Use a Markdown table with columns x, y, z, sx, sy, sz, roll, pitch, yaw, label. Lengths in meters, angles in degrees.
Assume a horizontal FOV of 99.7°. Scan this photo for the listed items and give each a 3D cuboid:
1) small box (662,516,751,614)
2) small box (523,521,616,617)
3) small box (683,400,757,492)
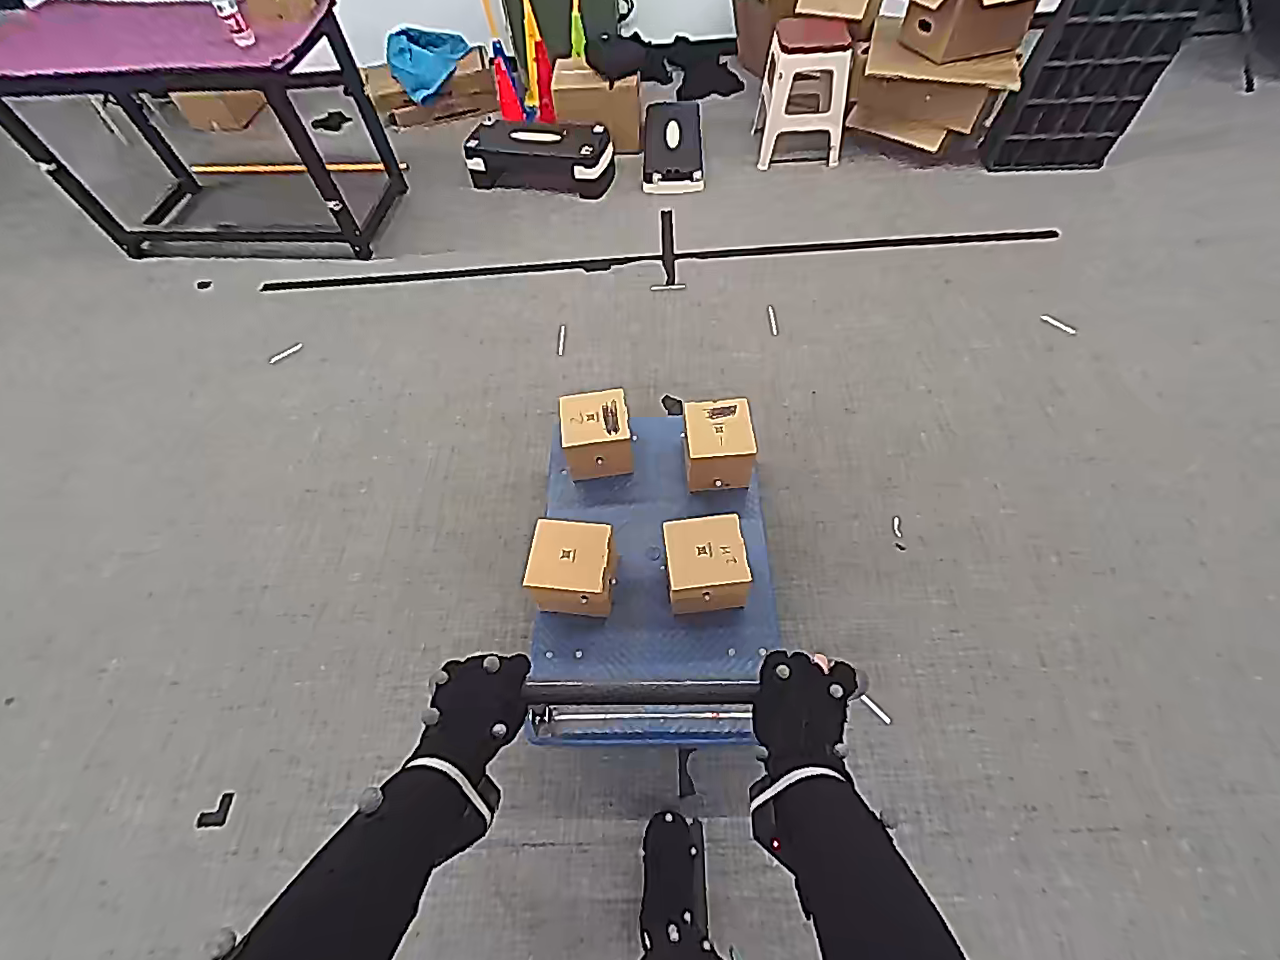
| x | y | z | sx | sy | sz | roll | pitch | yaw | label |
| --- | --- | --- | --- | --- | --- | --- | --- | --- | --- |
| 0.148 | 0.202 | 1.248 | 0.179 | 0.176 | 0.168 | -6 | 59 | 0 | small box |
| -0.156 | 0.212 | 1.263 | 0.179 | 0.176 | 0.168 | 5 | 59 | 5 | small box |
| 0.203 | -0.086 | 1.419 | 0.168 | 0.176 | 0.179 | -4 | 60 | 1 | small box |
